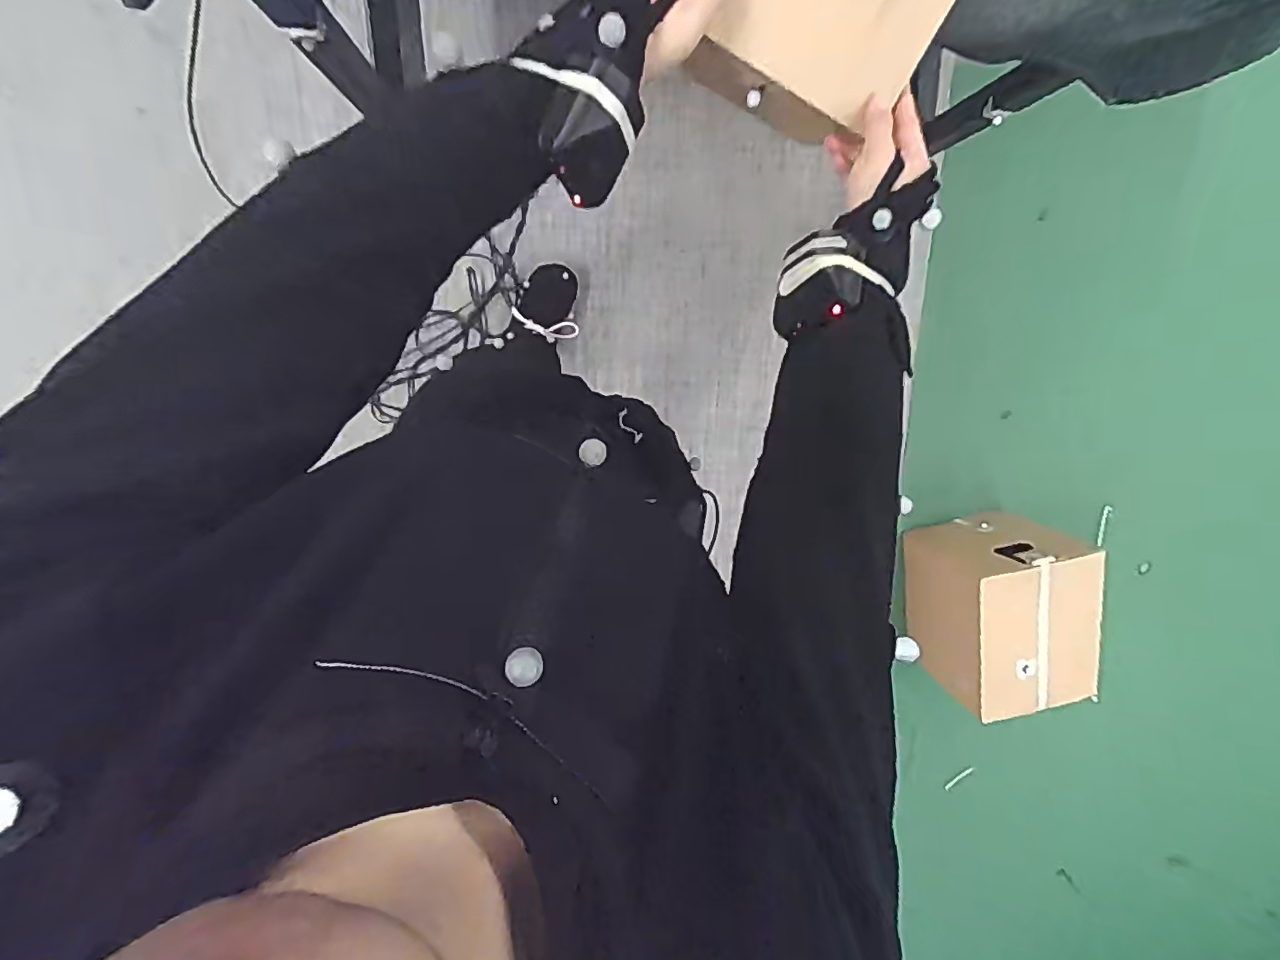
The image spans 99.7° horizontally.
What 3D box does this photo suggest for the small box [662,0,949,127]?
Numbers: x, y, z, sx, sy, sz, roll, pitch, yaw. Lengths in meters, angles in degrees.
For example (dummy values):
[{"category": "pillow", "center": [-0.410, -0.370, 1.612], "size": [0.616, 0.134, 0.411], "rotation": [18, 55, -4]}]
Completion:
[{"category": "small box", "center": [0.131, -0.402, 0.423], "size": [0.179, 0.176, 0.168], "rotation": [20, 118, -17]}]
